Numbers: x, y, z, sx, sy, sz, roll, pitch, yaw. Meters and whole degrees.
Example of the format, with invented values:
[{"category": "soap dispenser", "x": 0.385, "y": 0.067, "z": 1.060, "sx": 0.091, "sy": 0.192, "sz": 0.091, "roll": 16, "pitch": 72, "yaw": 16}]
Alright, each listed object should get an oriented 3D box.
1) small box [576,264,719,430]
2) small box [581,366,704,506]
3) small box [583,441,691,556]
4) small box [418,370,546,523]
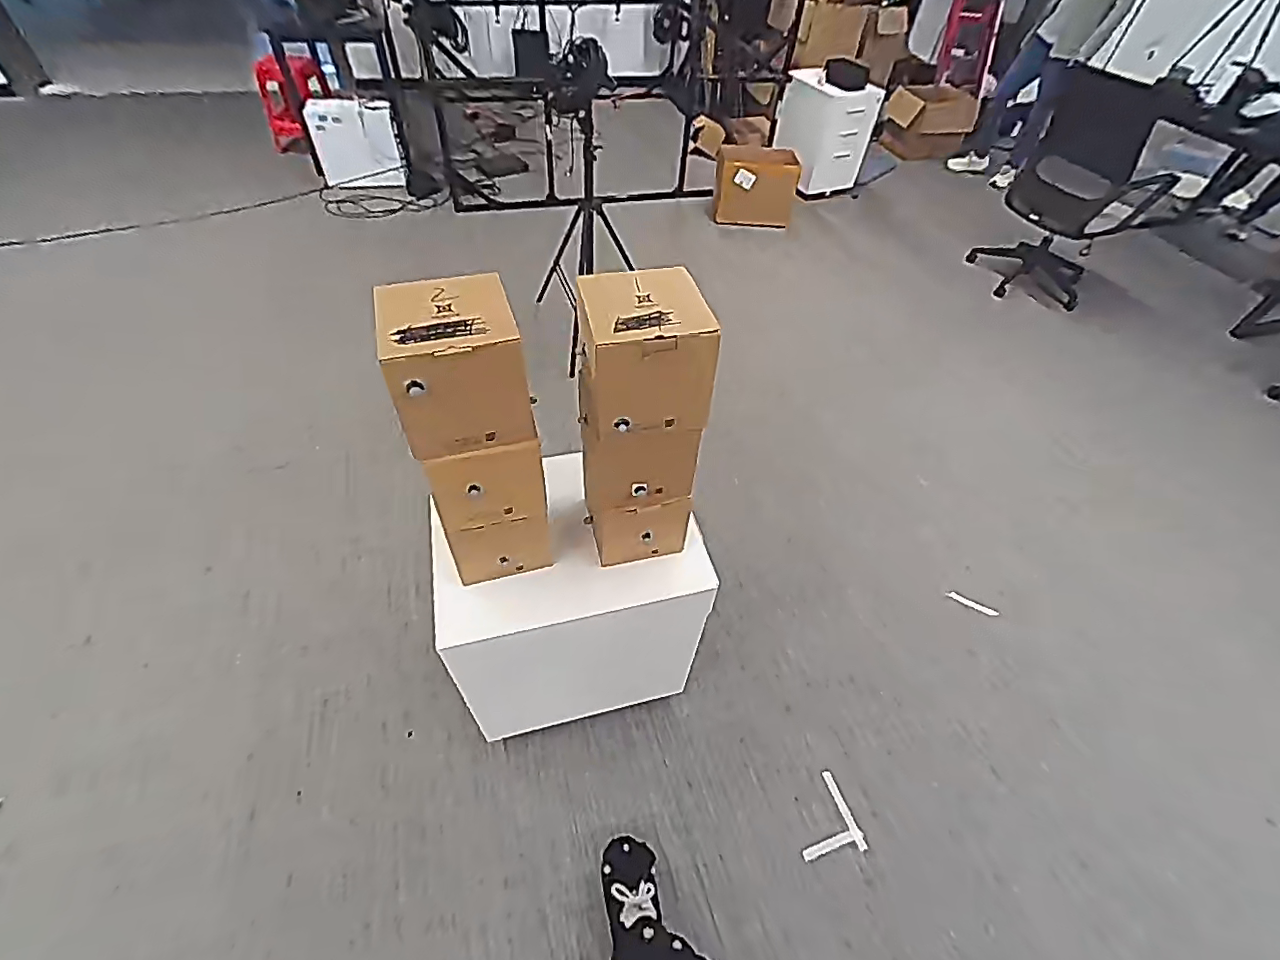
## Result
[{"category": "small box", "x": 0.005, "y": -0.187, "z": 0.787, "sx": 0.168, "sy": 0.176, "sz": 0.179, "roll": -9, "pitch": 49, "yaw": -10}, {"category": "small box", "x": -0.005, "y": -0.082, "z": 0.914, "sx": 0.168, "sy": 0.176, "sz": 0.179, "roll": -10, "pitch": 51, "yaw": -10}, {"category": "small box", "x": -0.012, "y": 0.030, "z": 1.031, "sx": 0.168, "sy": 0.176, "sz": 0.179, "roll": -9, "pitch": 52, "yaw": -12}, {"category": "small box", "x": -0.248, "y": -0.048, "z": 0.866, "sx": 0.168, "sy": 0.176, "sz": 0.179, "roll": -10, "pitch": 50, "yaw": -14}]
